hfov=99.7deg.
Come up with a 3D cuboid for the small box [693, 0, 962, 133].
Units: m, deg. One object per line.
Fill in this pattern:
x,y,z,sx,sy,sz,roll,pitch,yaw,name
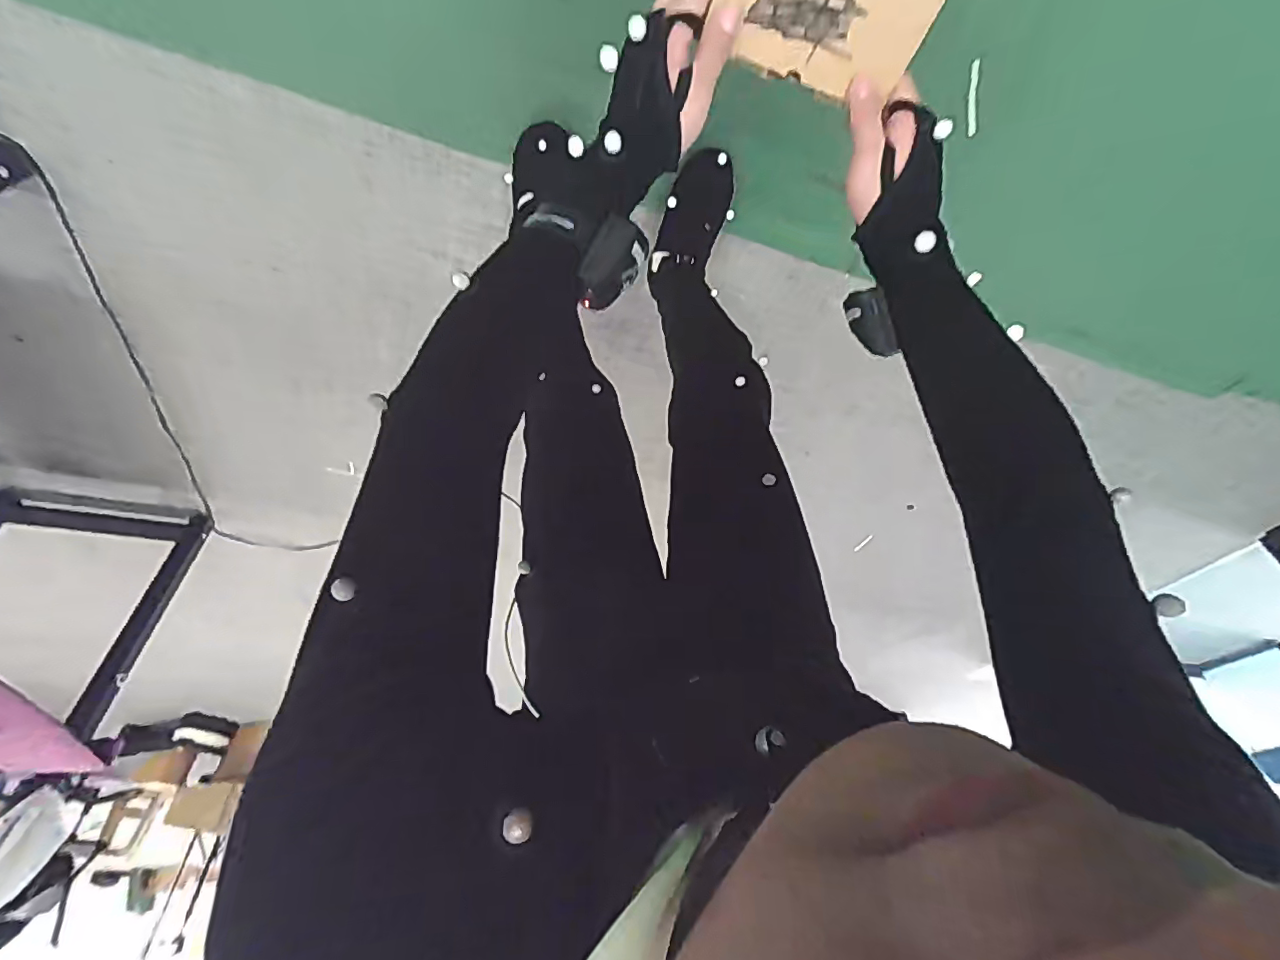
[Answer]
0.148,-0.417,0.418,0.168,0.176,0.179,10,138,-16,small box
